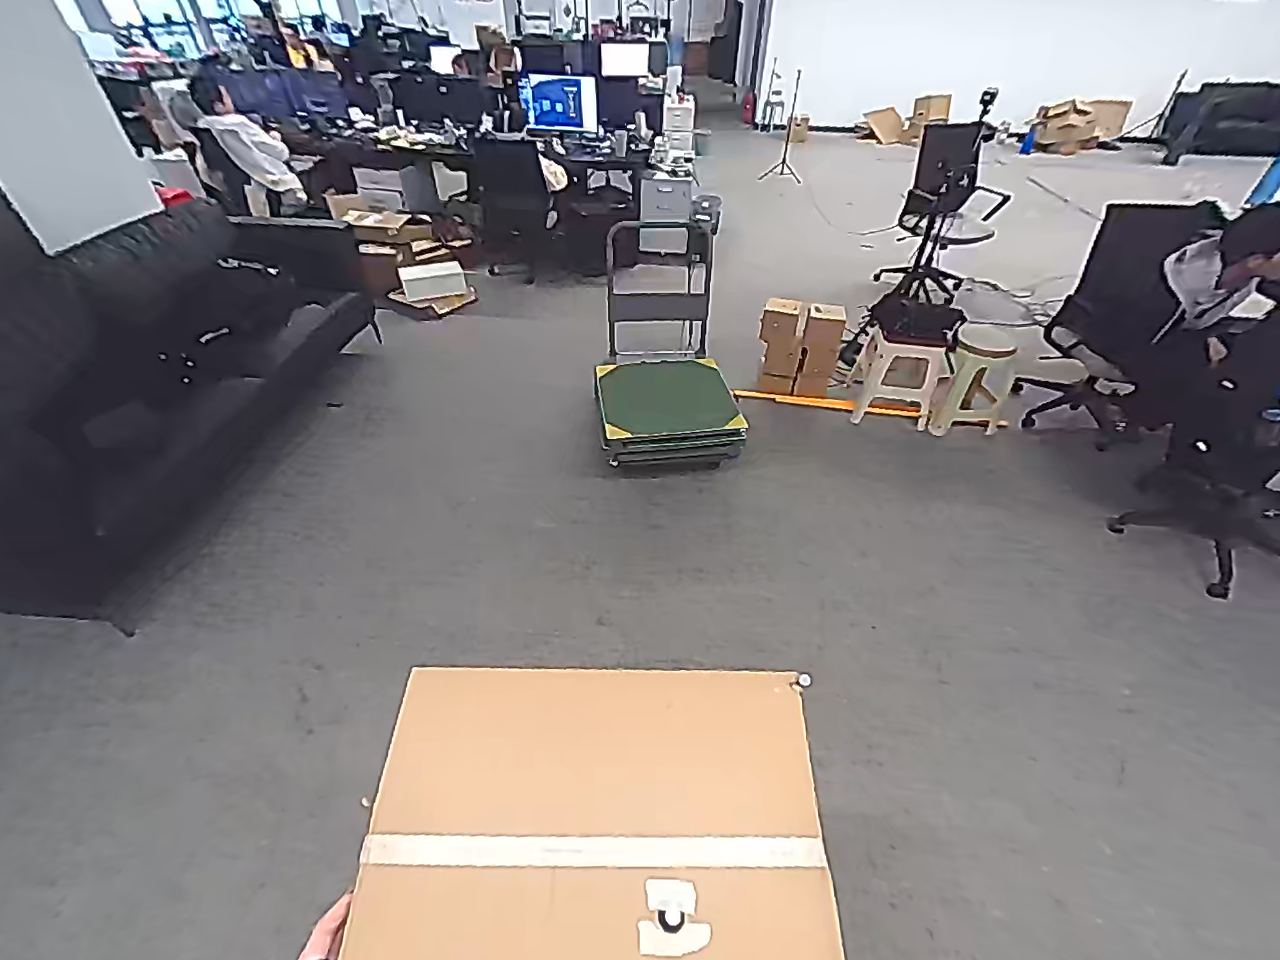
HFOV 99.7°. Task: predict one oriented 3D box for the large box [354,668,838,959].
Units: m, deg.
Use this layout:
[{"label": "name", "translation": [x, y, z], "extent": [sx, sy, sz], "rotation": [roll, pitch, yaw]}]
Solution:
[{"label": "large box", "translation": [-0.039, 0.414, 0.608], "extent": [0.408, 0.320, 0.320], "rotation": [0, 55, -1]}]
